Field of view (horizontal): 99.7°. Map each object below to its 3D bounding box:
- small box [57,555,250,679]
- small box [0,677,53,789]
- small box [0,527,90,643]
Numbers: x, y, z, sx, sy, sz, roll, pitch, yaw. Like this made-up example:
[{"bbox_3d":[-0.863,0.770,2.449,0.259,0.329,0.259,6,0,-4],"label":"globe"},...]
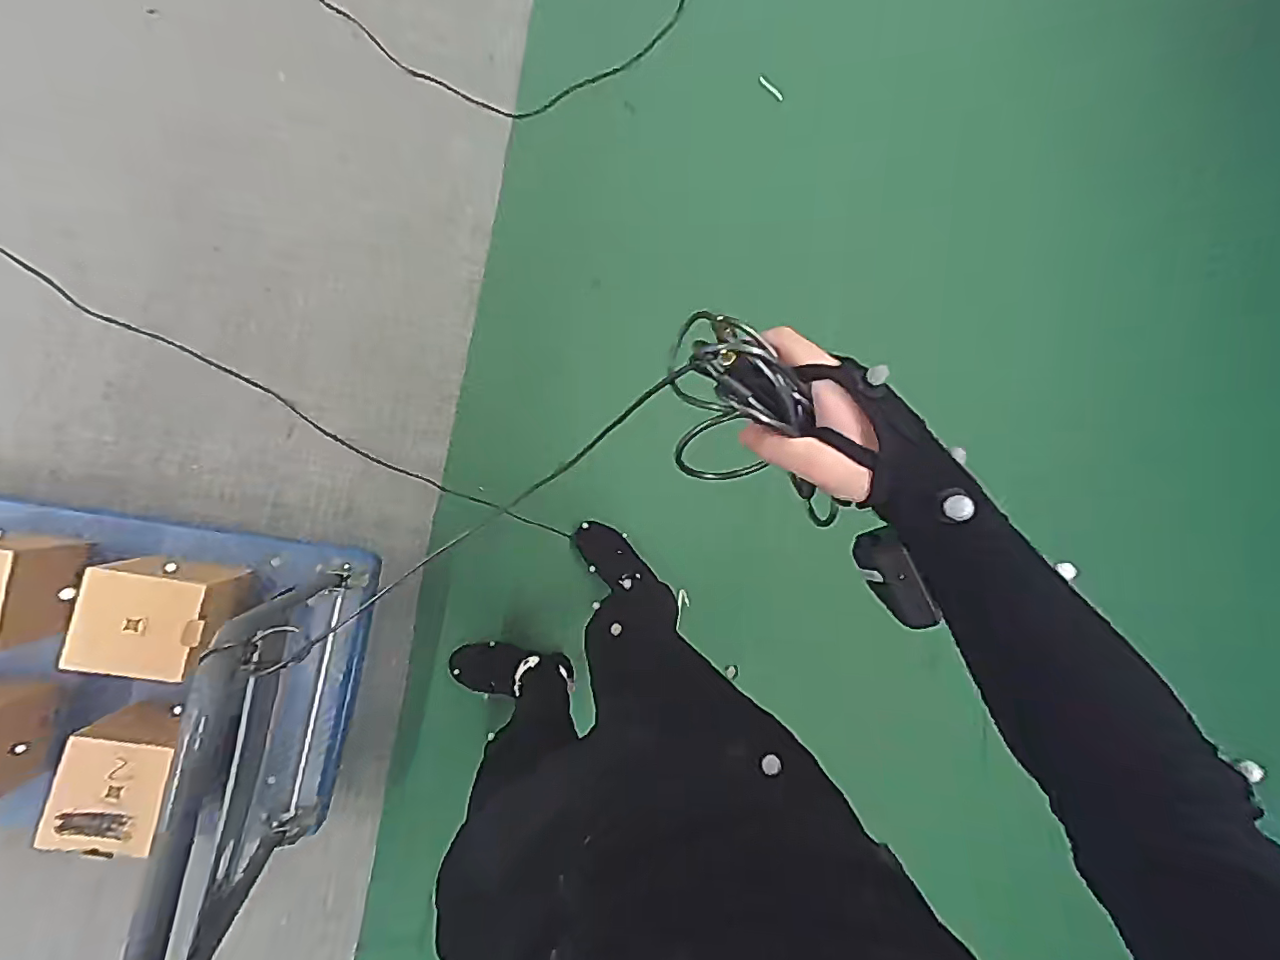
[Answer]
[{"bbox_3d":[-0.839,0.232,0.953,0.179,0.176,0.168,13,86,-14],"label":"small box"},{"bbox_3d":[-1.126,0.423,0.874,0.179,0.176,0.168,8,86,-14],"label":"small box"},{"bbox_3d":[-1.087,0.170,0.891,0.179,0.176,0.168,10,87,-14],"label":"small box"}]
